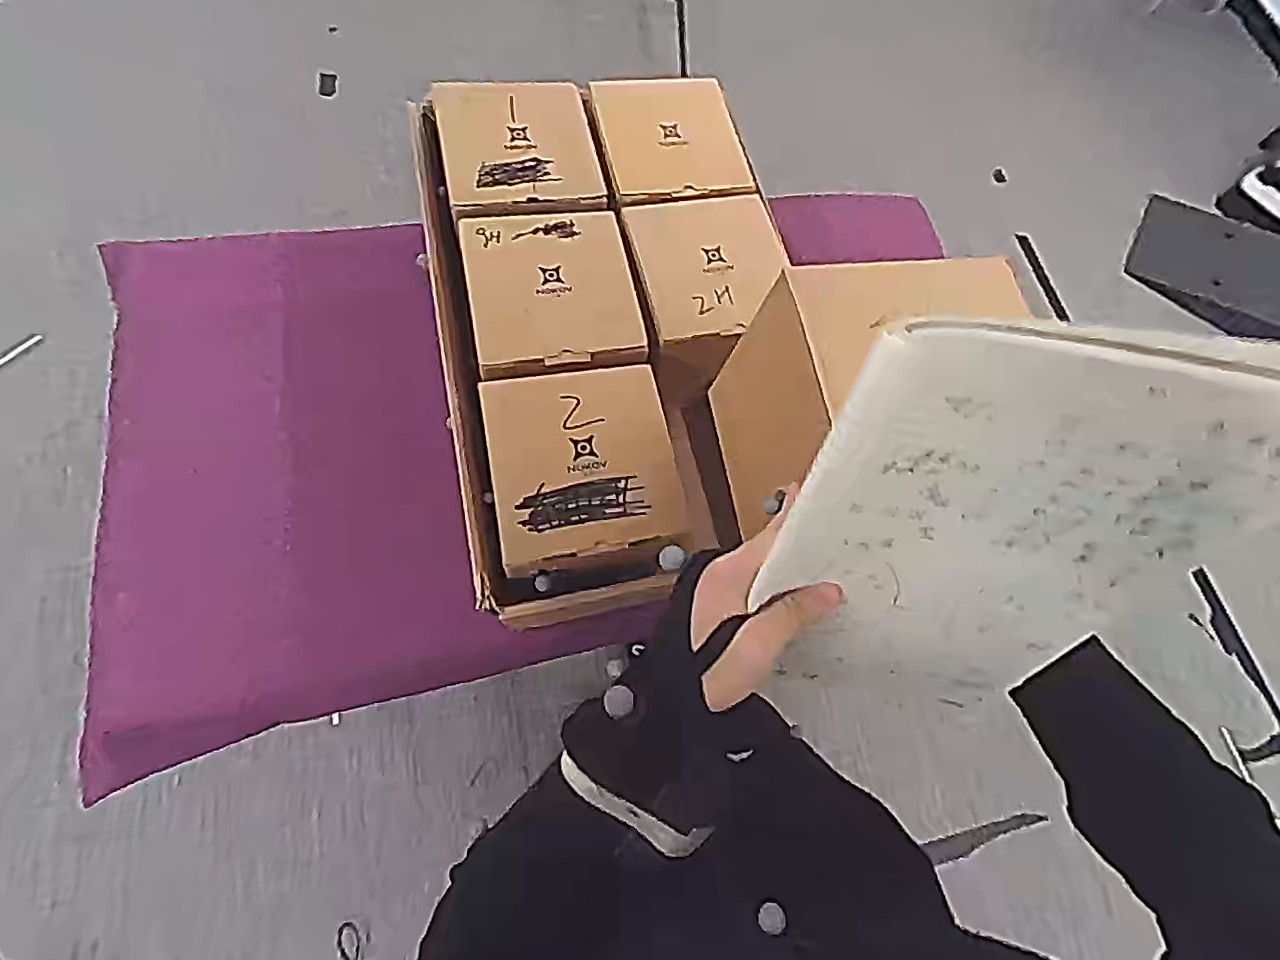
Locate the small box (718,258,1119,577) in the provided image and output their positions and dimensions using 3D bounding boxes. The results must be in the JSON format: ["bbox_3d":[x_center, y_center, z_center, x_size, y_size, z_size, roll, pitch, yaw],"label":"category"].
[{"bbox_3d":[0.170,-0.030,0.393,0.168,0.176,0.179,-7,73,-12],"label":"small box"}]
